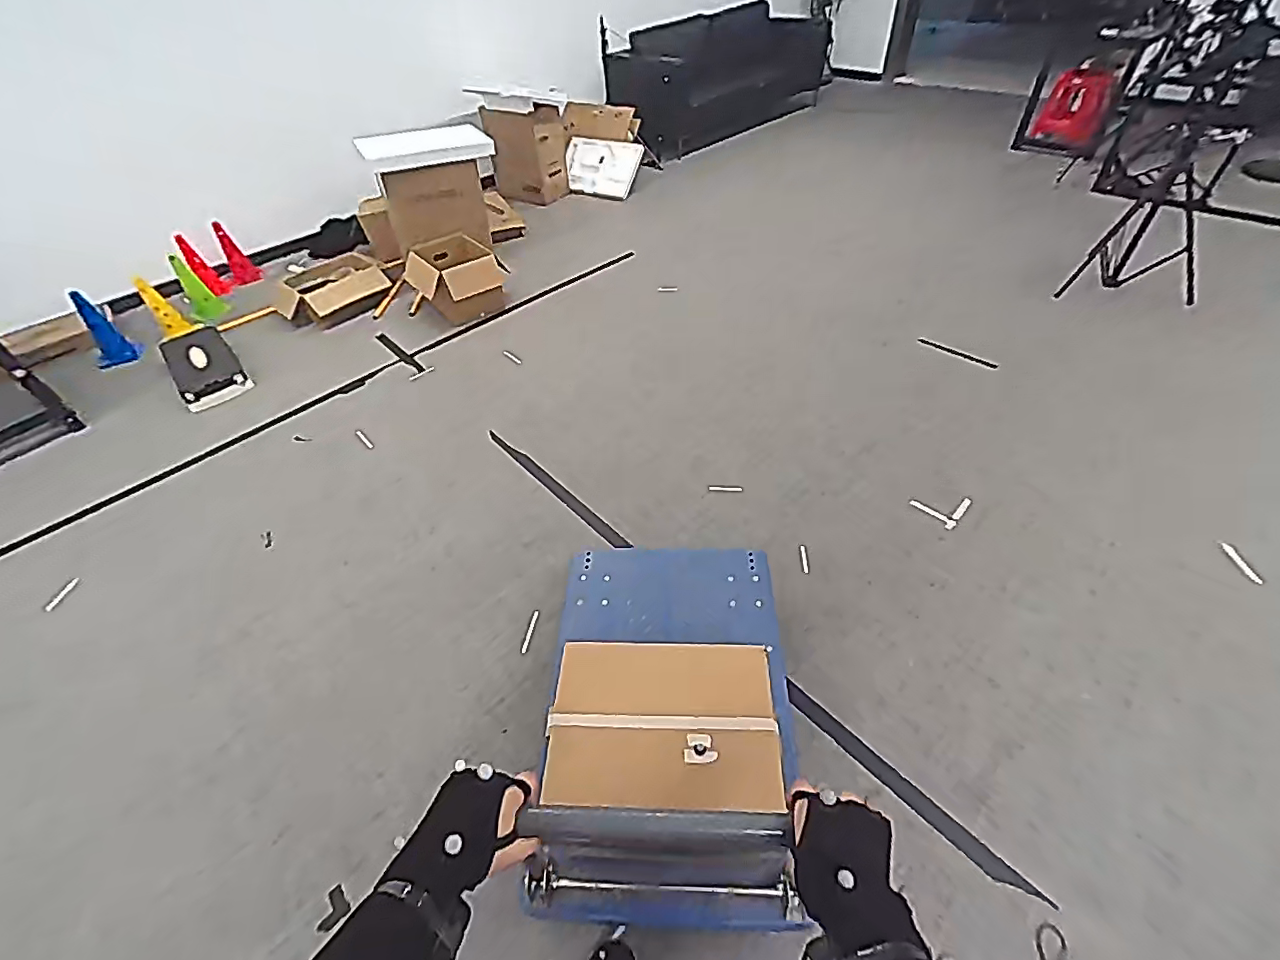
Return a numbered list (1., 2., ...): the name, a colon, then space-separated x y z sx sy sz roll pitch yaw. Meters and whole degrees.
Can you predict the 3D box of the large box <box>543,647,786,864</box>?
1. large box: 0.046 0.550 1.078 0.408 0.320 0.320 0 46 3
